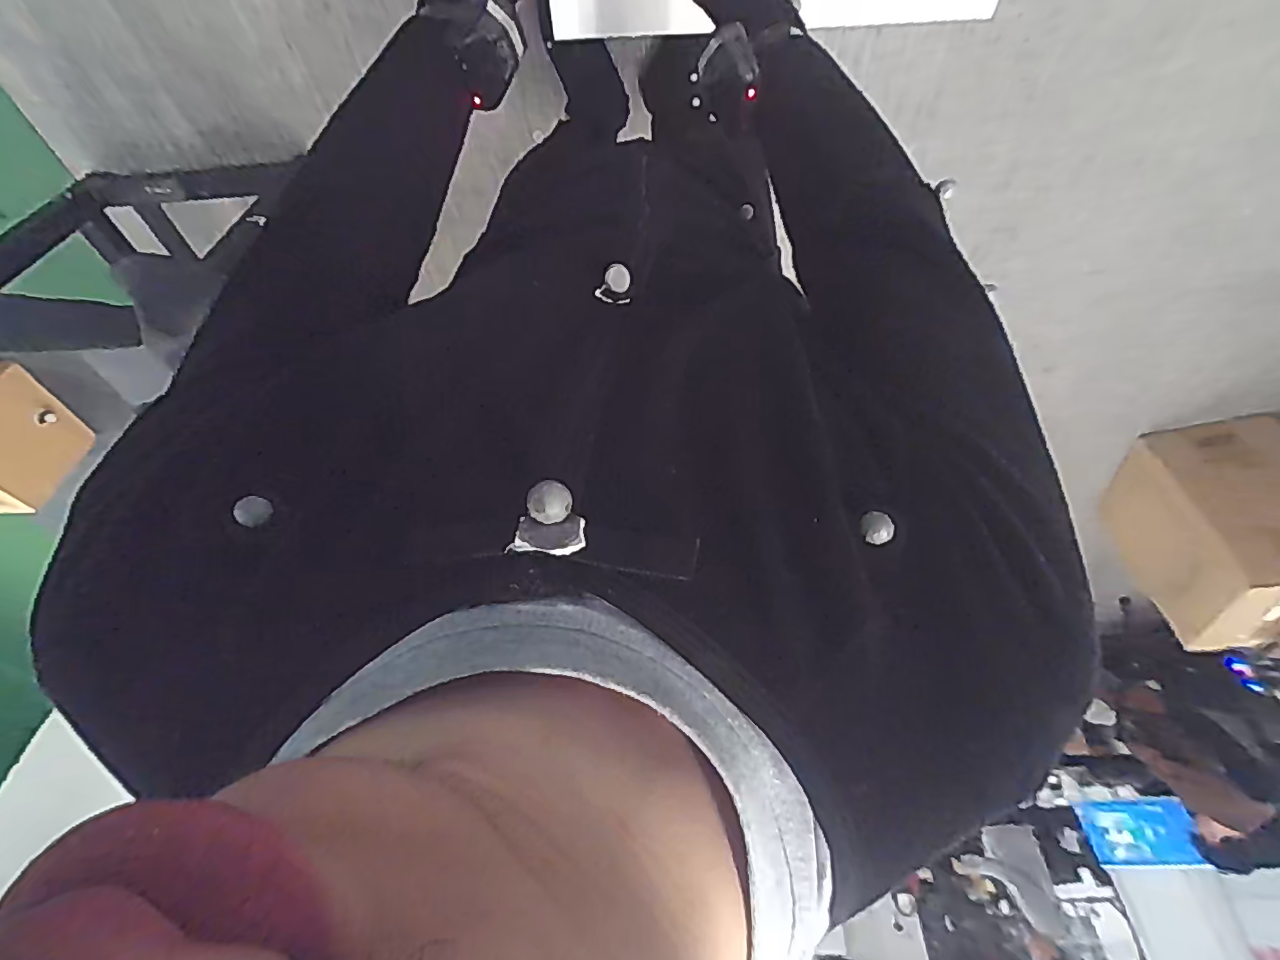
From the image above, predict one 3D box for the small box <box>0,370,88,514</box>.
[{"bbox_3d":[-1.031,-0.063,0.825,0.168,0.176,0.179,0,142,-2],"label":"small box"}]
